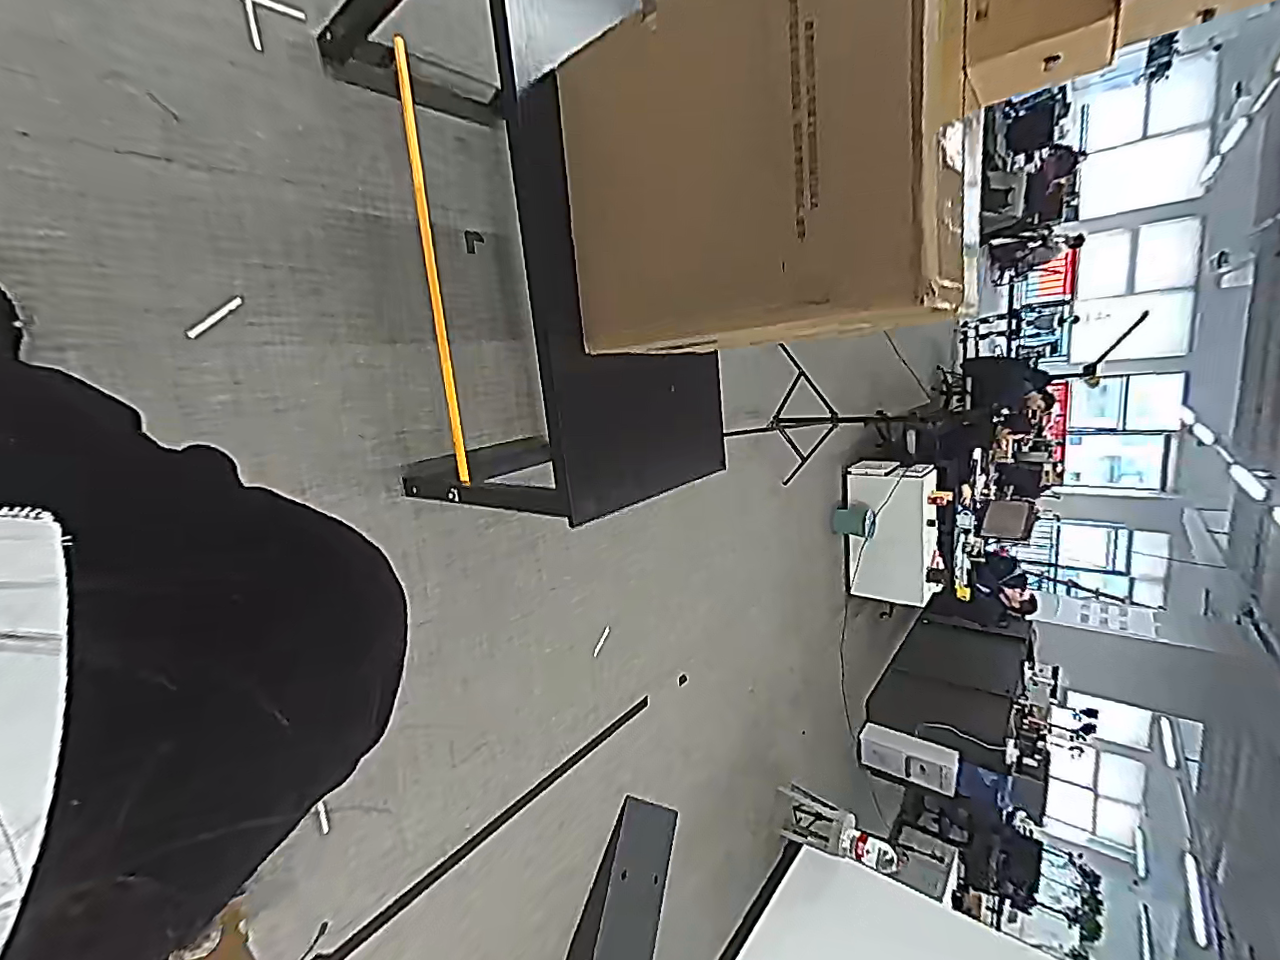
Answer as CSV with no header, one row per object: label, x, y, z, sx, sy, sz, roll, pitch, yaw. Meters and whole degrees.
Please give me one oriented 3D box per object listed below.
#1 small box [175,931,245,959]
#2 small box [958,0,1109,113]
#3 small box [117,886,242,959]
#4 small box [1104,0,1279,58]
small box,-0.868,1.058,1.062,0.168,0.176,0.179,-13,102,-50
small box,0.567,-0.664,0.777,0.179,0.176,0.168,-18,108,-49
small box,-0.991,1.042,1.171,0.179,0.176,0.168,-12,102,-49
small box,0.674,-0.651,0.649,0.179,0.176,0.168,-22,110,-48
